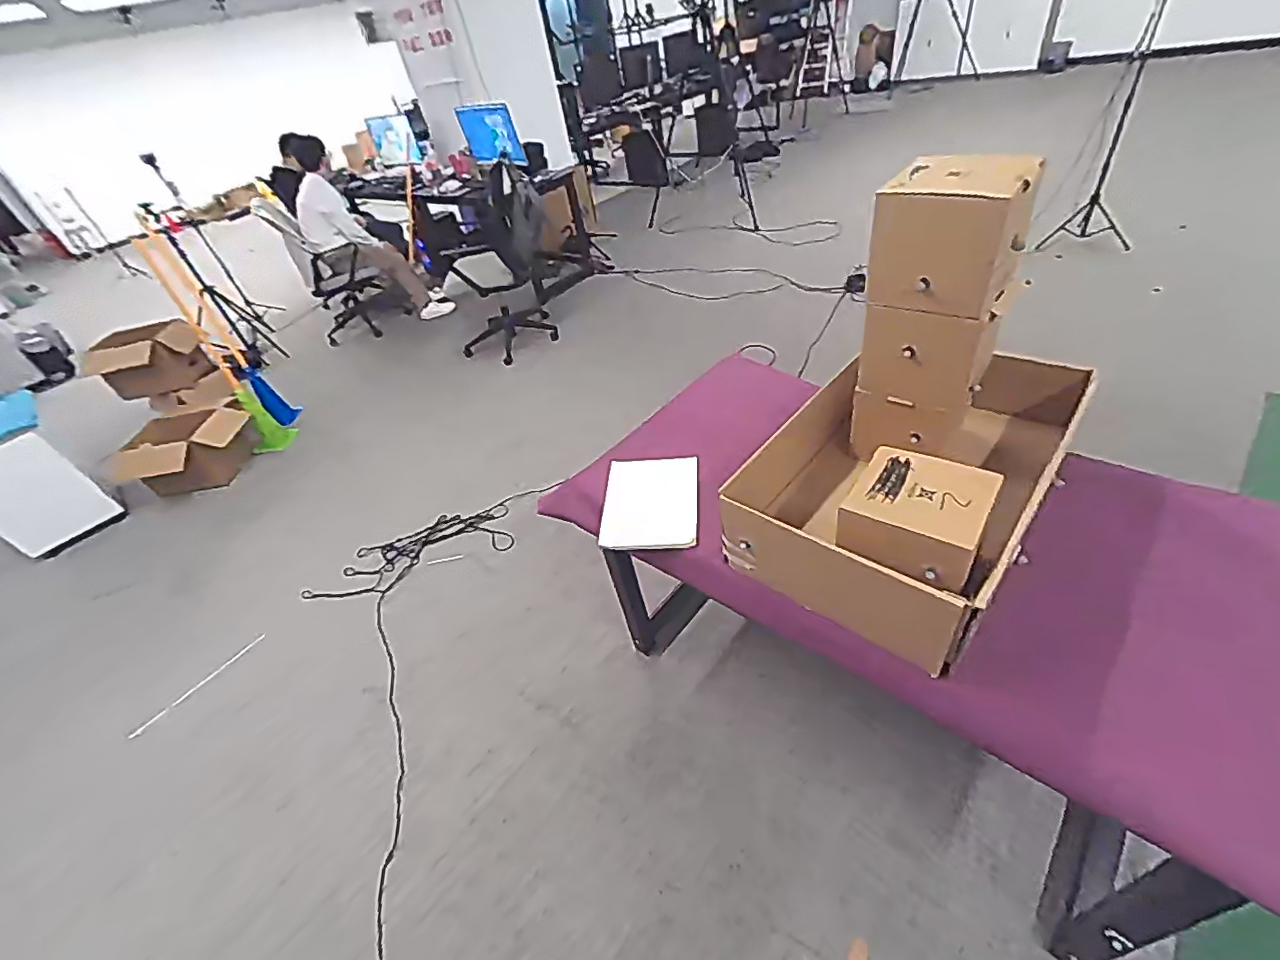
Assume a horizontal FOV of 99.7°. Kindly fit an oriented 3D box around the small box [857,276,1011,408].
[{"bbox_3d":[0.494,-0.245,0.927,0.179,0.176,0.168,22,52,34],"label":"small box"}]

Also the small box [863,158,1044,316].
[{"bbox_3d":[0.465,-0.369,0.822,0.179,0.176,0.168,26,54,35],"label":"small box"}]
